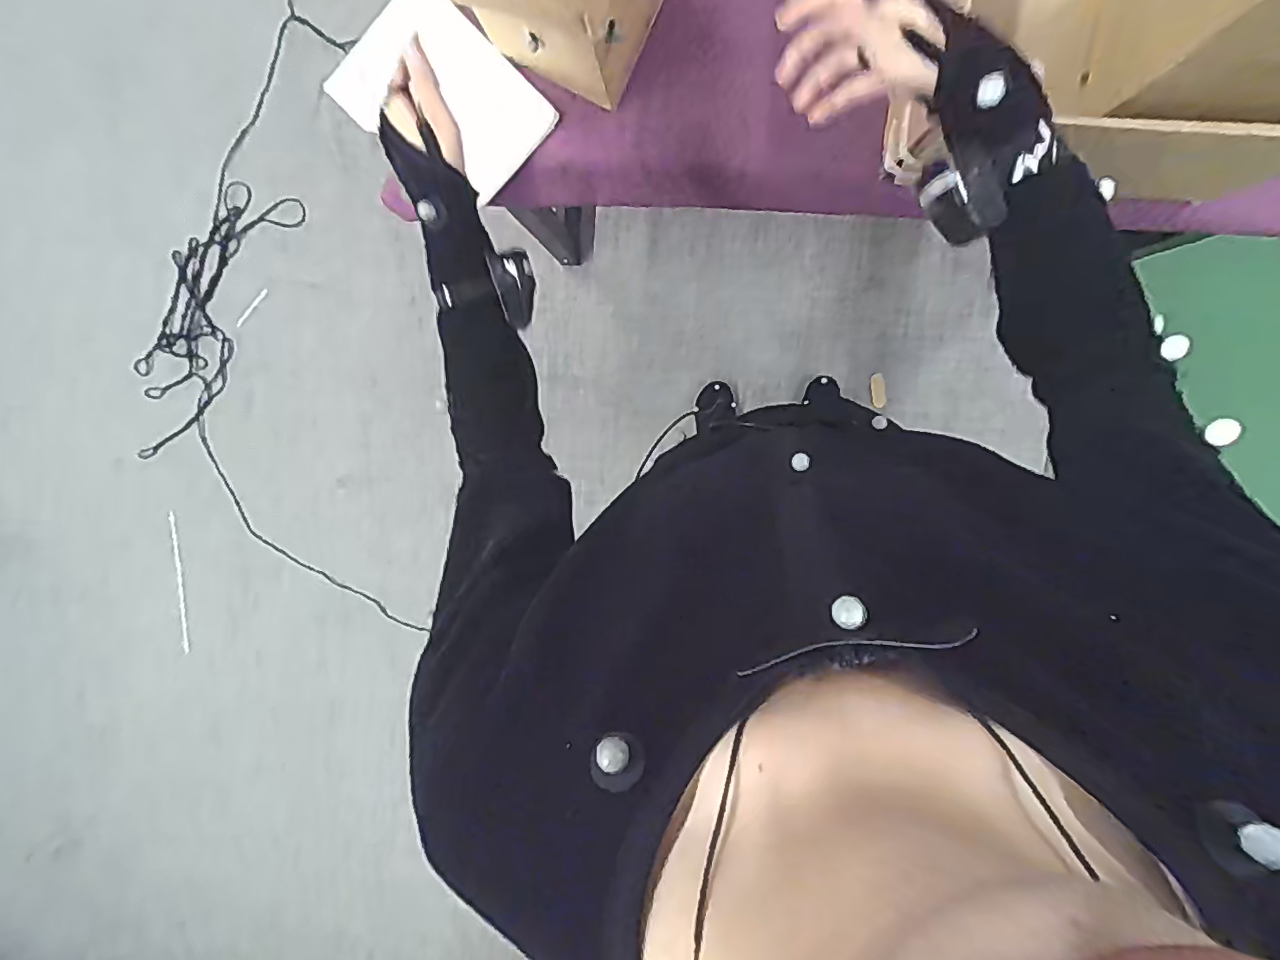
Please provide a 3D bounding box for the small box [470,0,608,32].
[{"bbox_3d":[-0.103,-0.538,0.463,0.179,0.176,0.168,18,100,3],"label":"small box"}]

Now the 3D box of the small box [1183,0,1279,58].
[{"bbox_3d":[0.547,-0.419,0.363,0.179,0.176,0.168,8,99,7],"label":"small box"}]
